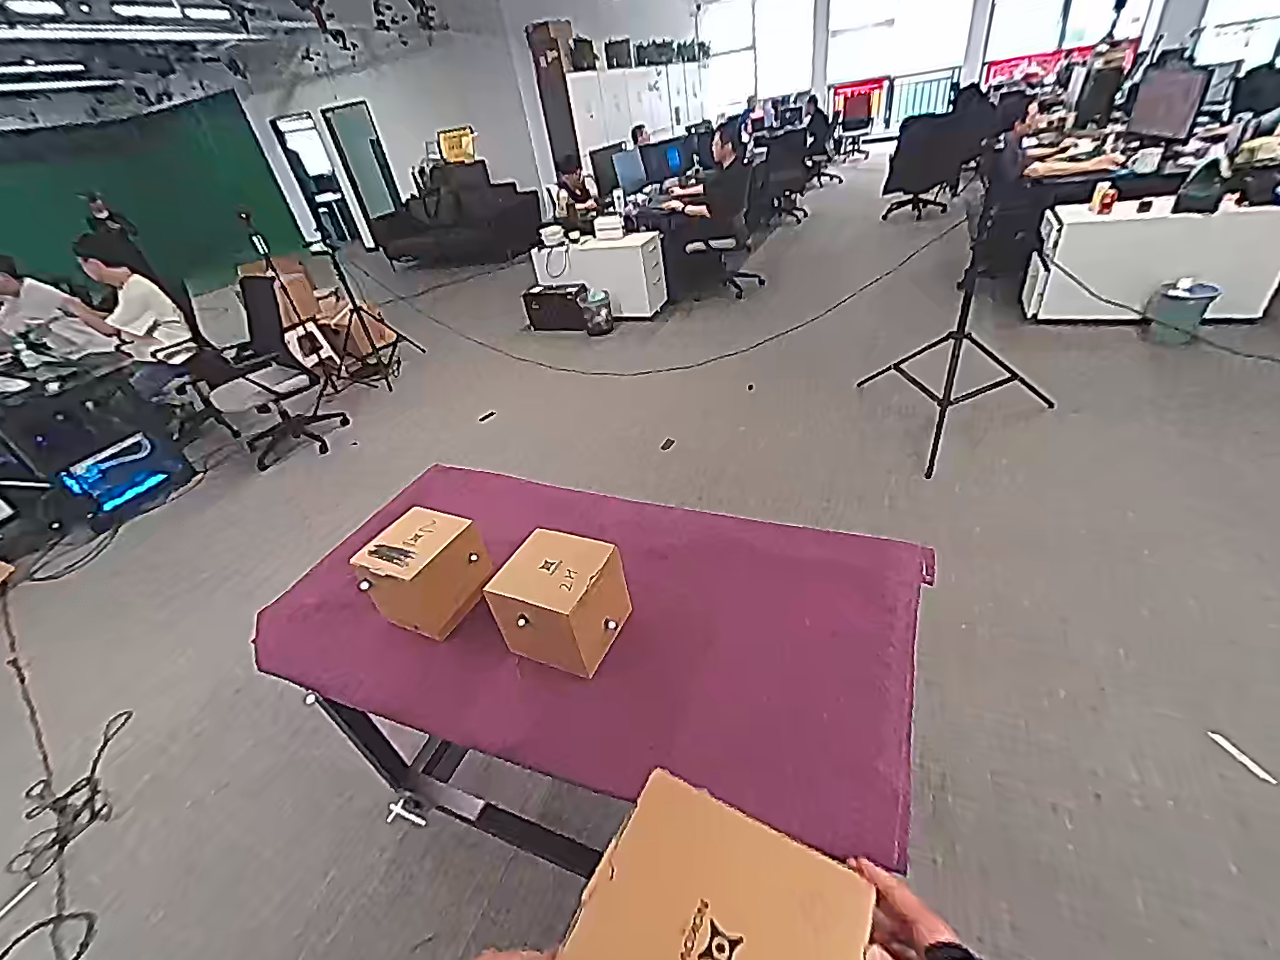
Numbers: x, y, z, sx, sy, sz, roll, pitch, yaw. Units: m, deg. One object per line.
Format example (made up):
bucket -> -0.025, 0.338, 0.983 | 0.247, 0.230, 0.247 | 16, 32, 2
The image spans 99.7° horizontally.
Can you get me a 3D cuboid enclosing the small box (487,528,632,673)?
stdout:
small box -> -0.134, 0.213, 0.964 | 0.179, 0.176, 0.168 | 10, 40, 26
